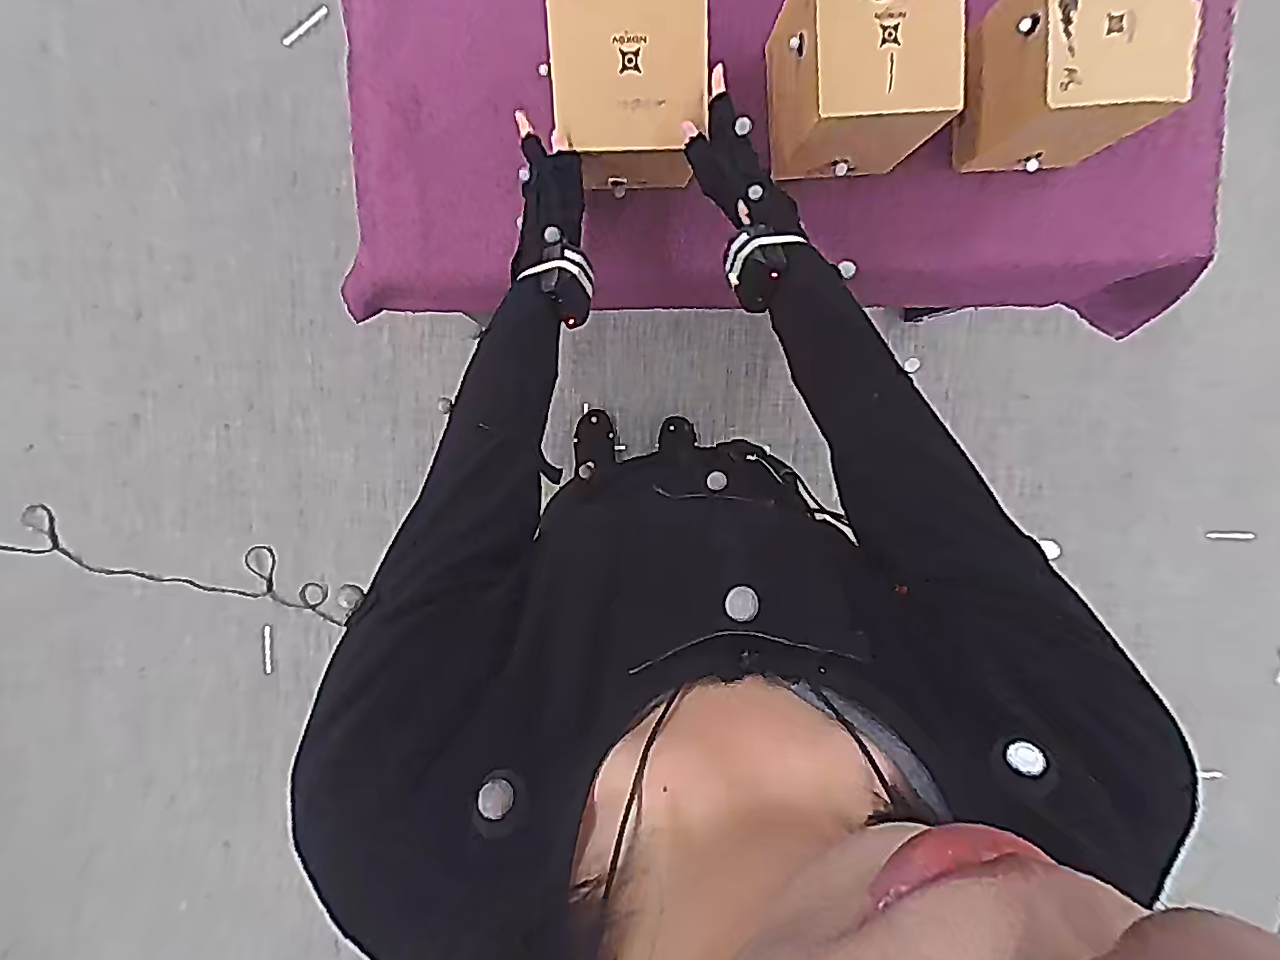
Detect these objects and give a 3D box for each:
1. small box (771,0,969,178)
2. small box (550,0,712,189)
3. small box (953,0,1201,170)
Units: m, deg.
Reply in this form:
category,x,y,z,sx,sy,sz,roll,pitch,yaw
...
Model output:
category,x,y,z,sx,sy,sz,roll,pitch,yaw
small box,0.264,-0.495,0.653,0.168,0.176,0.179,-5,98,-3
small box,-0.013,-0.460,0.630,0.168,0.176,0.179,-4,105,-2
small box,0.527,-0.508,0.670,0.179,0.176,0.168,-5,97,-4
